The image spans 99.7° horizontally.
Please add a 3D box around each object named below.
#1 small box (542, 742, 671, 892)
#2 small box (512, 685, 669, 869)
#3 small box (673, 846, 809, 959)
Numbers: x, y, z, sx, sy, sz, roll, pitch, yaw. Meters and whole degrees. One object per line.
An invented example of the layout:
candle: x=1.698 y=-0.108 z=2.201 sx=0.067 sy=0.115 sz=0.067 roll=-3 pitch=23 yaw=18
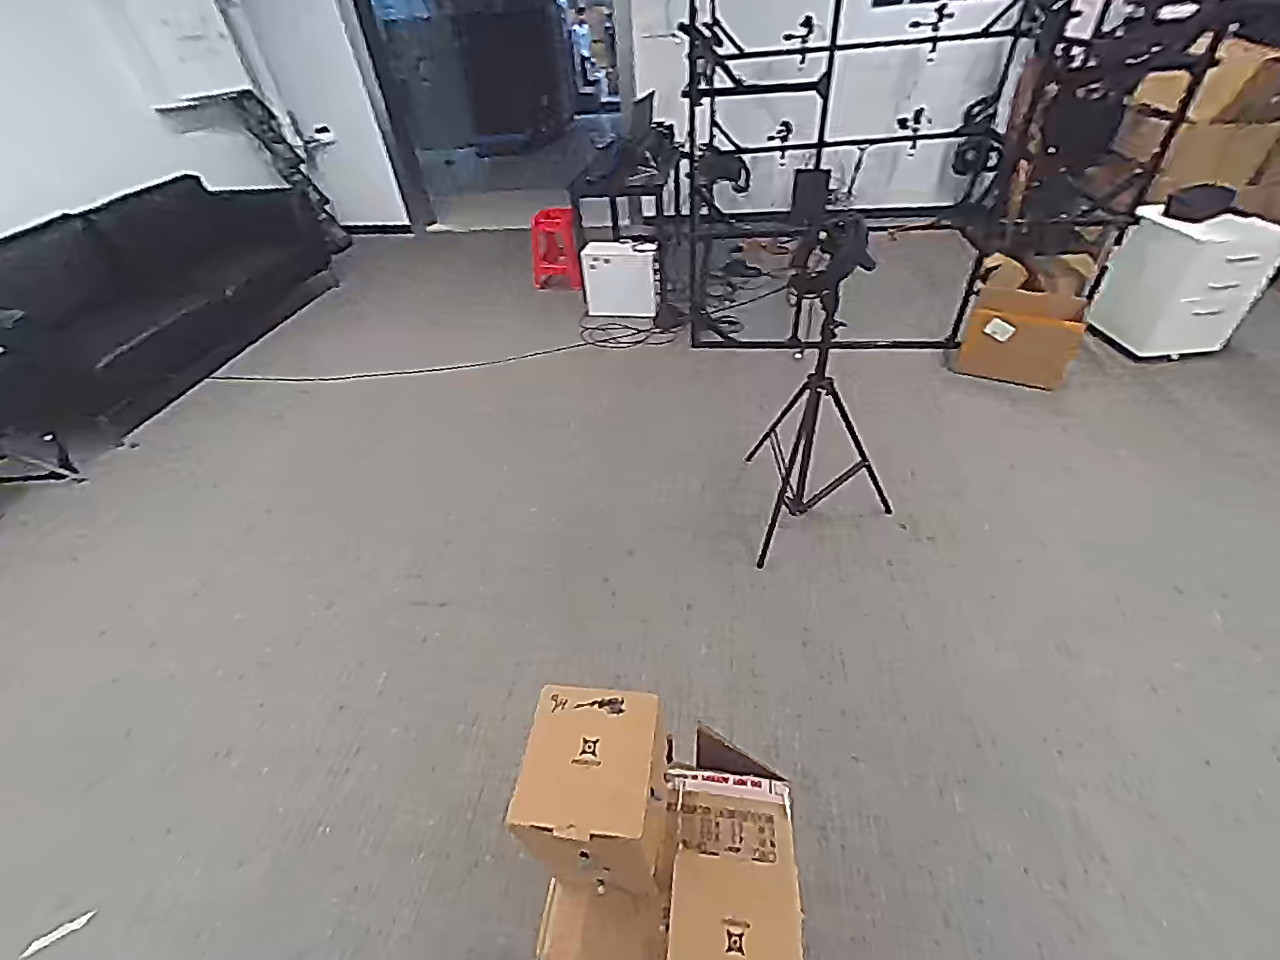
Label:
small box: x=-0.041 y=0.521 z=0.858 sx=0.168 sy=0.176 sz=0.179 roll=0 pitch=43 yaw=9
small box: x=-0.053 y=0.406 z=0.740 sx=0.168 sy=0.176 sz=0.179 roll=1 pitch=44 yaw=10
small box: x=0.131 y=0.624 z=0.727 sx=0.168 sy=0.176 sz=0.179 roll=0 pitch=44 yaw=9
